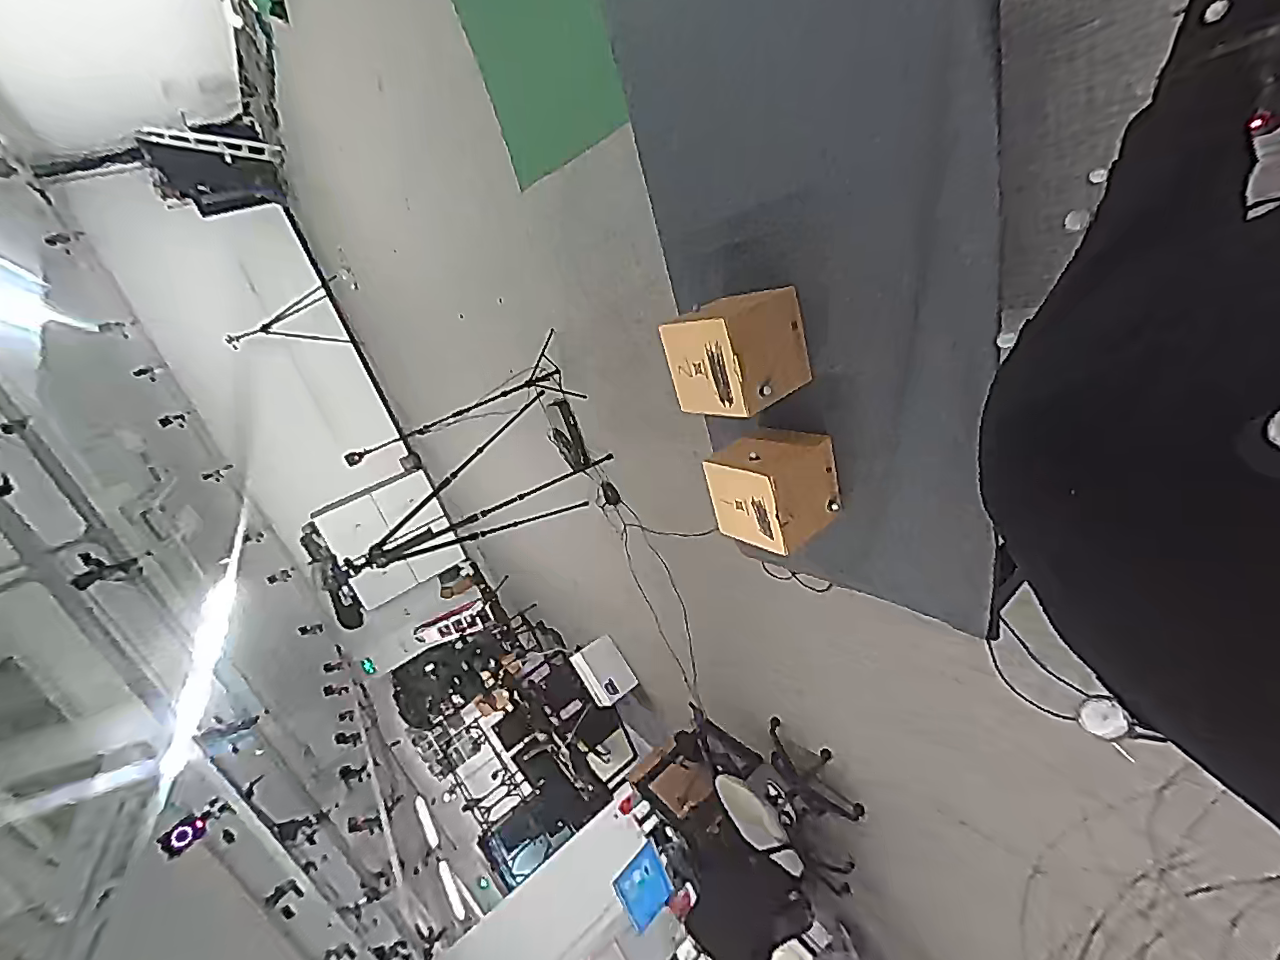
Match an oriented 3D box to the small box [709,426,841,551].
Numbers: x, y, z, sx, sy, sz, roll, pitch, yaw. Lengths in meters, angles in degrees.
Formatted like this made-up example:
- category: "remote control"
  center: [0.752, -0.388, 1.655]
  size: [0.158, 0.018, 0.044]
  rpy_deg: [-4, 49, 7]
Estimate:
- category: "small box"
  center: [0.266, 0.007, 1.037]
  size: [0.179, 0.176, 0.168]
  rpy_deg: [18, 131, 54]
